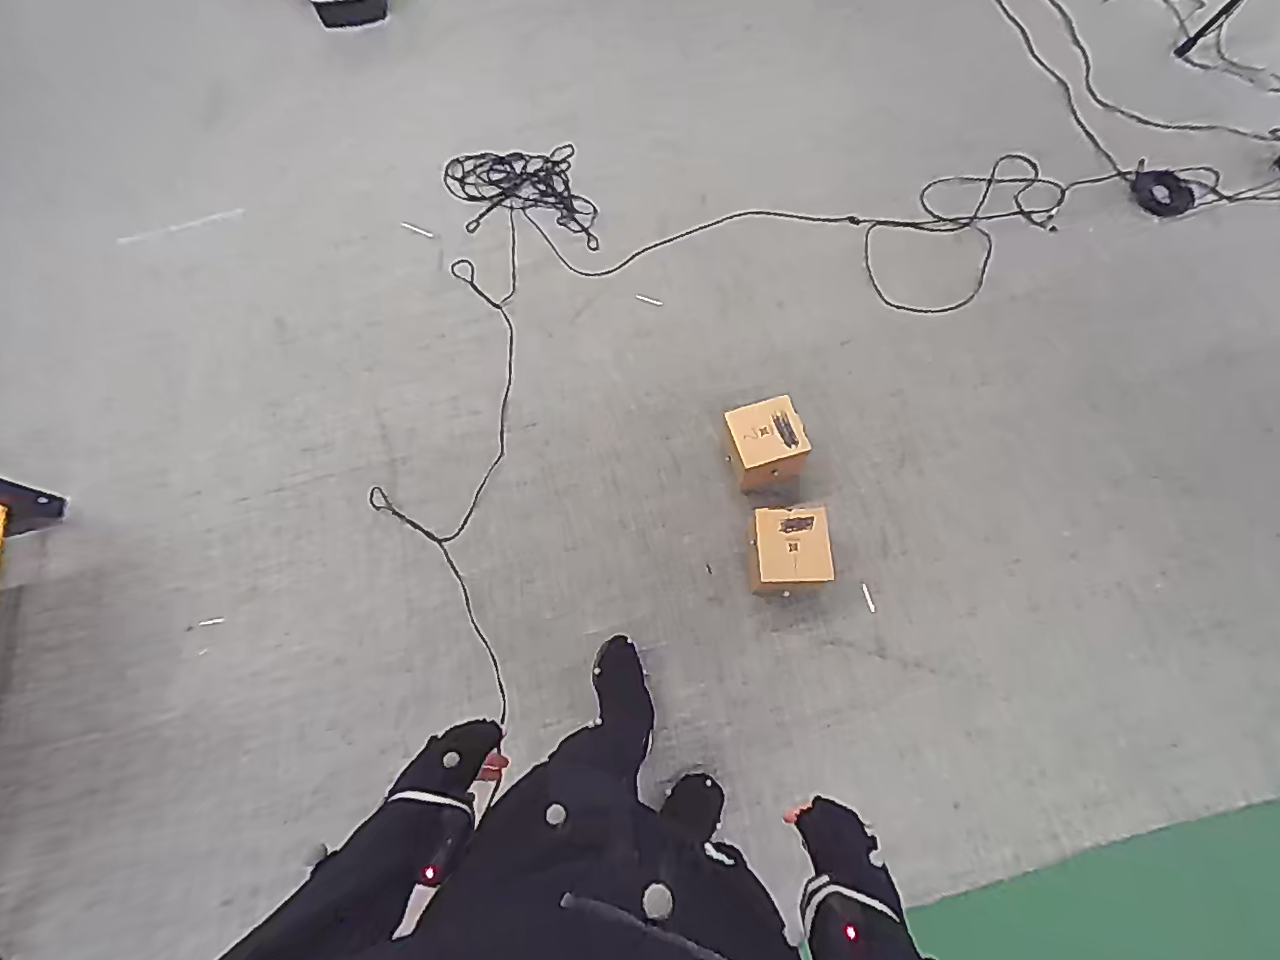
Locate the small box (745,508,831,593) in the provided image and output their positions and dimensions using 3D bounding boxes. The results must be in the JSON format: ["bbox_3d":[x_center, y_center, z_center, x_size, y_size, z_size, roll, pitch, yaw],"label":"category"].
[{"bbox_3d":[0.354,0.176,1.324,0.168,0.176,0.179,-2,70,4],"label":"small box"}]
